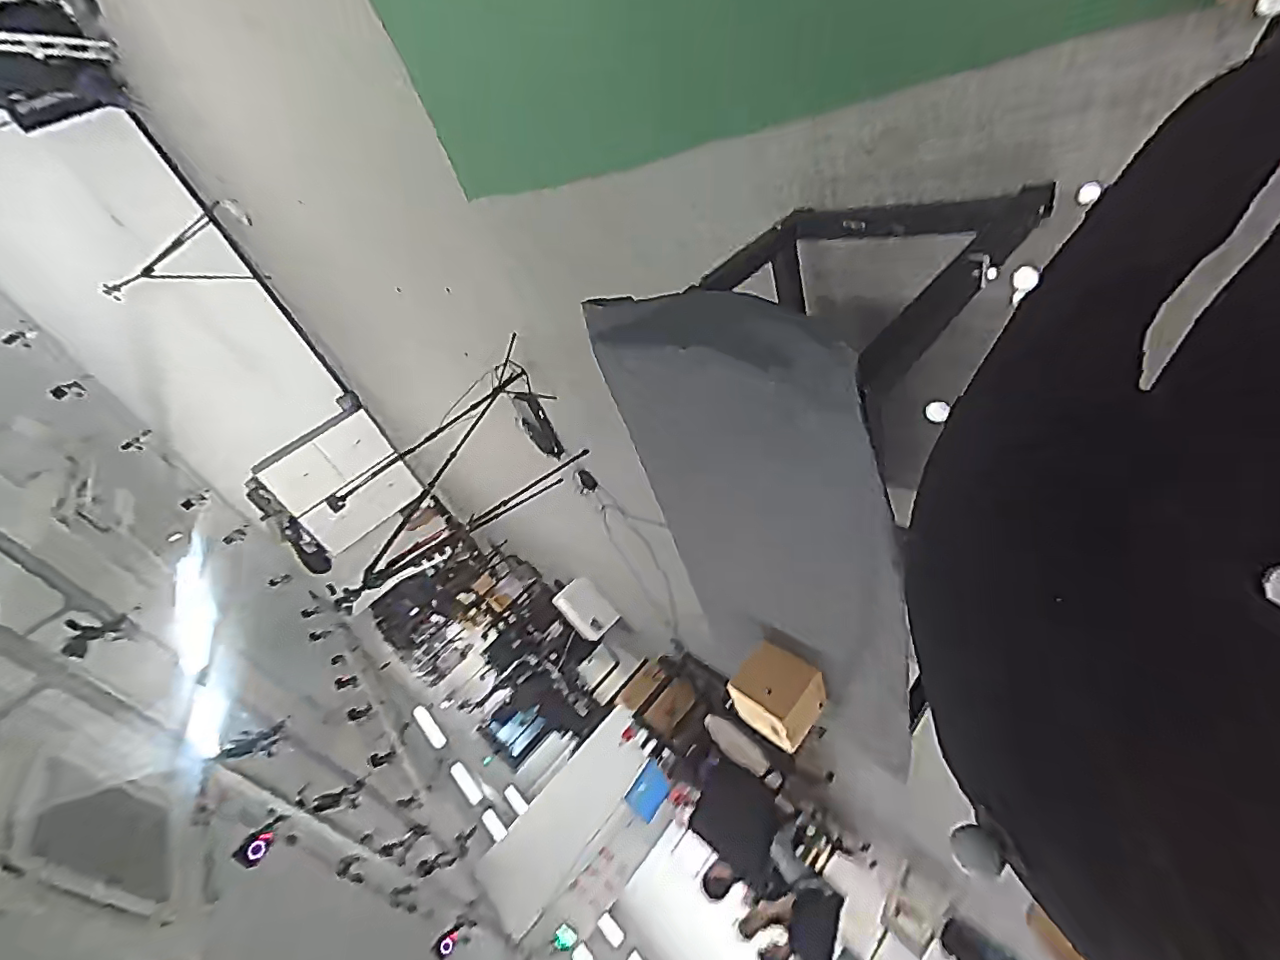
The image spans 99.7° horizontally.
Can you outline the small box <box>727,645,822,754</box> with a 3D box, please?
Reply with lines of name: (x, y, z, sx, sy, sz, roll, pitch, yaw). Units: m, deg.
small box: (0.363, 0.573, 1.430, 0.179, 0.176, 0.168, 22, 144, 46)
